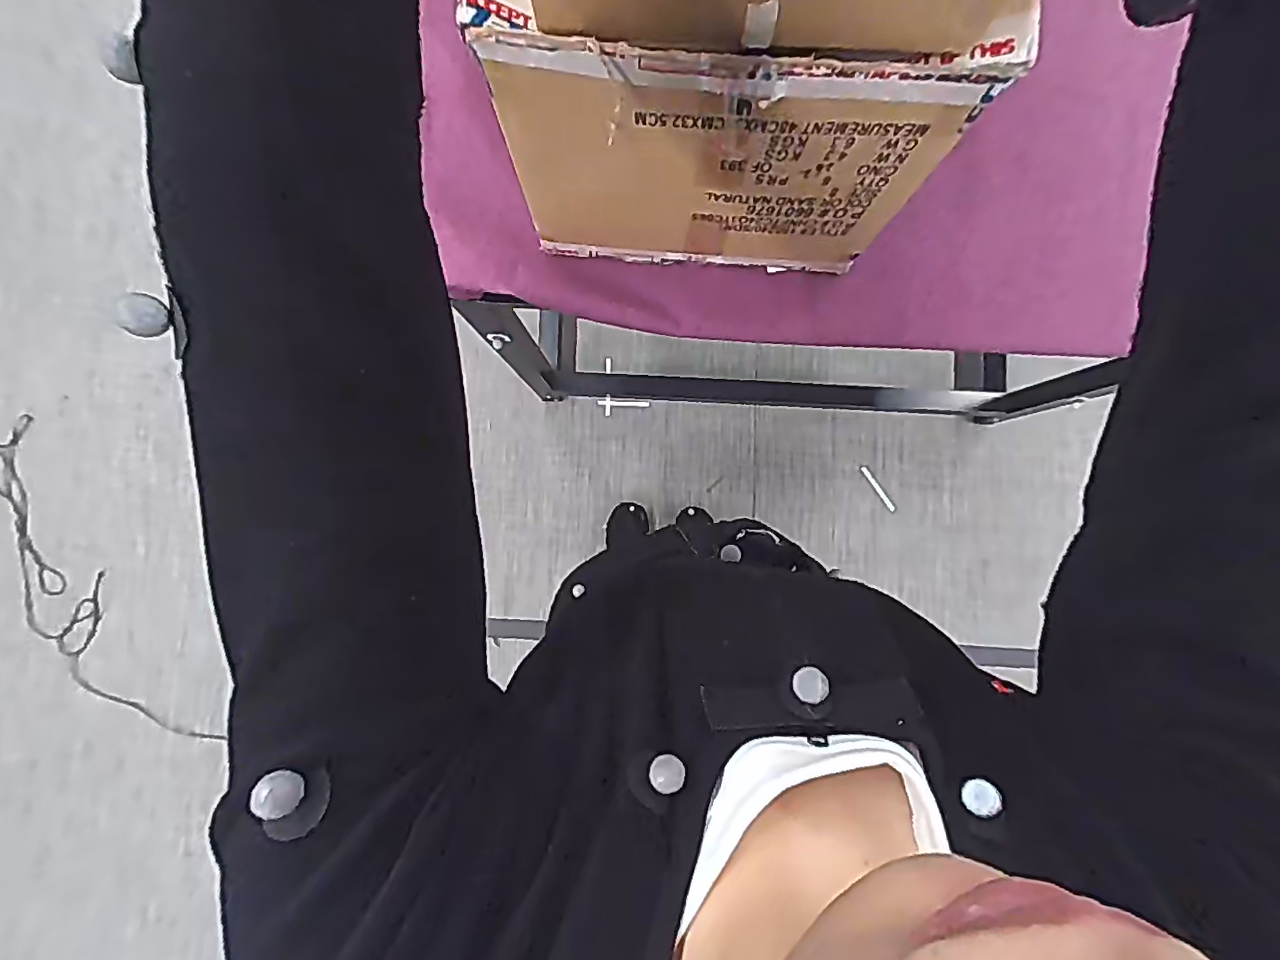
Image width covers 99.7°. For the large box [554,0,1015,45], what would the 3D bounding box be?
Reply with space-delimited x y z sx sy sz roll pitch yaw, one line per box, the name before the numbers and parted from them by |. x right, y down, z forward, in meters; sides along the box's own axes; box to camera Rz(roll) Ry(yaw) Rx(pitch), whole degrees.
large box | 0.096 -0.513 0.241 0.320 0.320 0.408 2 87 2
